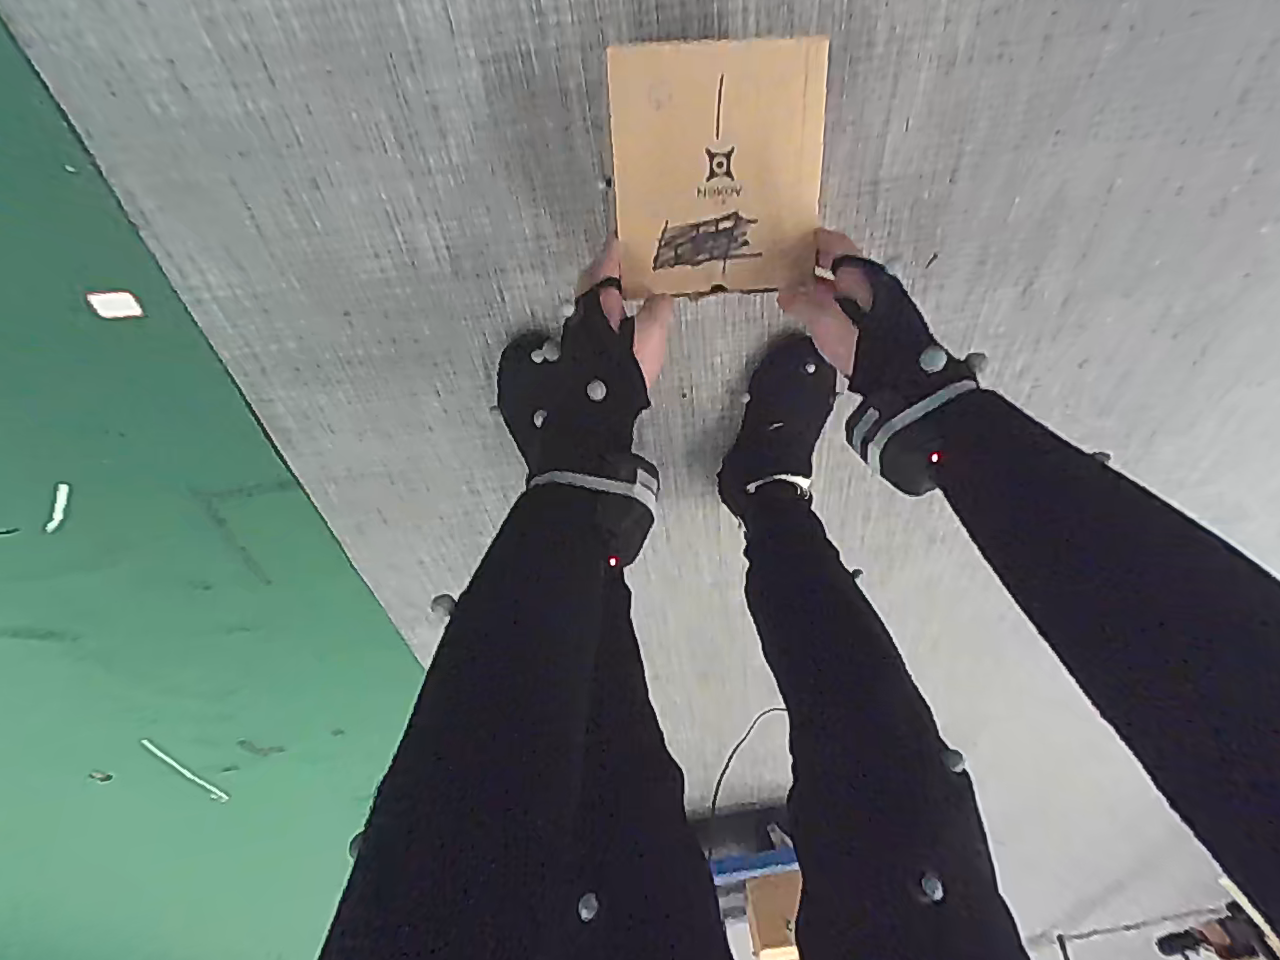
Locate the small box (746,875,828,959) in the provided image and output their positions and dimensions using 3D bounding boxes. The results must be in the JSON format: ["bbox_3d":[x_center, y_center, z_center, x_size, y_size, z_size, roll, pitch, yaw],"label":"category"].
[{"bbox_3d":[0.414,1.262,1.551,0.179,0.176,0.168,-6,128,-2],"label":"small box"}]

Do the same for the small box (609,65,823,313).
[{"bbox_3d":[0.059,-0.261,0.517,0.168,0.176,0.179,-5,111,-3],"label":"small box"}]

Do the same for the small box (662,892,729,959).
[{"bbox_3d":[0.158,1.313,1.557,0.168,0.176,0.179,-8,128,-1],"label":"small box"}]
